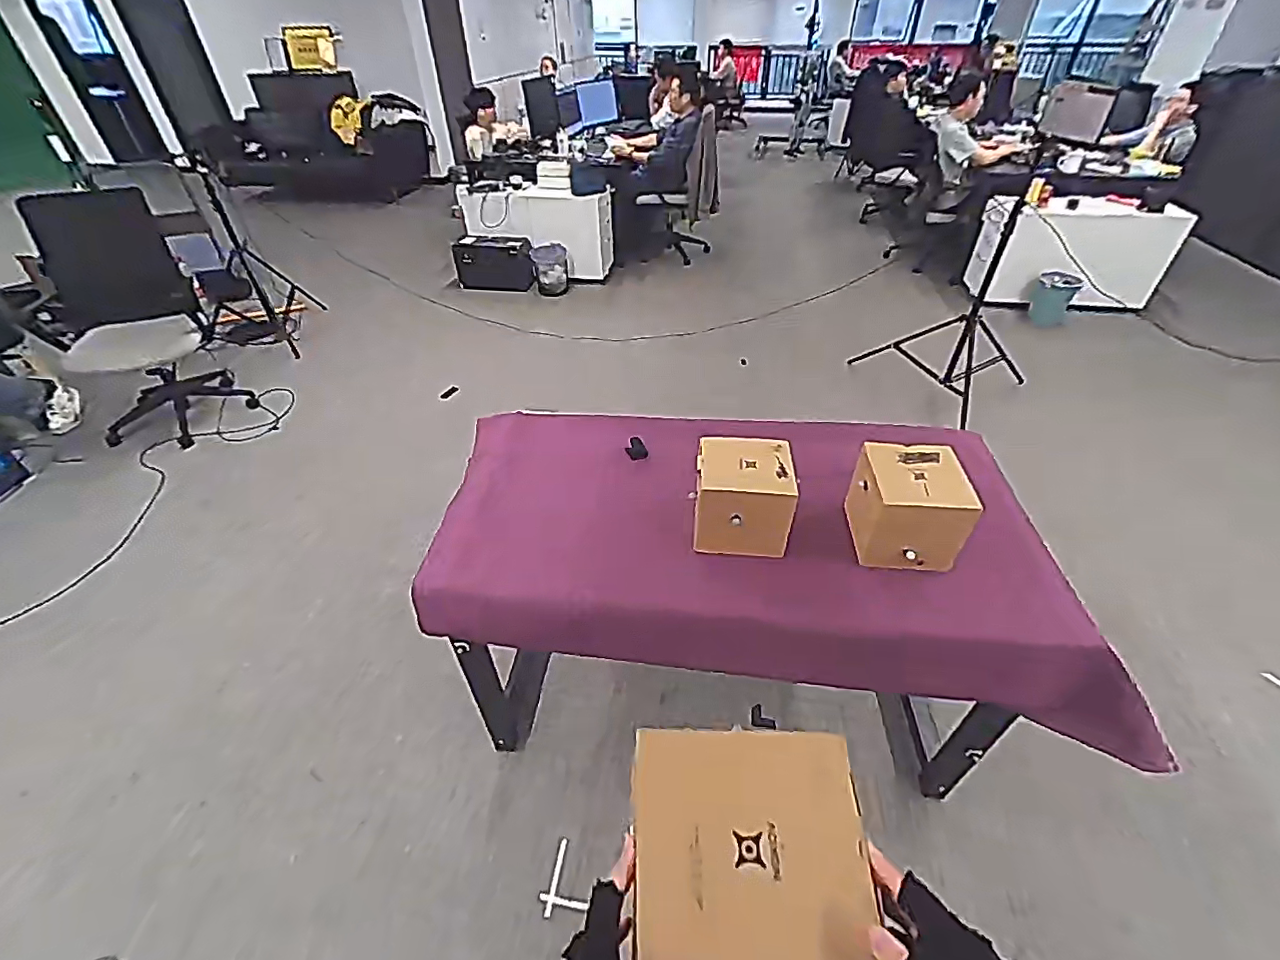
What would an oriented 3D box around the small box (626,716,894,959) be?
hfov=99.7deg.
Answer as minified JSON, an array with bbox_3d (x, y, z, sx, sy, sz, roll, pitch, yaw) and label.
[{"bbox_3d":[0.079,0.312,0.461,0.179,0.176,0.168,1,50,-2],"label":"small box"}]

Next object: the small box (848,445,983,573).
[{"bbox_3d":[0.512,0.054,1.039,0.168,0.176,0.179,3,41,5],"label":"small box"}]

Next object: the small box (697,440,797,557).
[{"bbox_3d":[0.204,0.037,1.069,0.179,0.176,0.168,2,40,5],"label":"small box"}]
